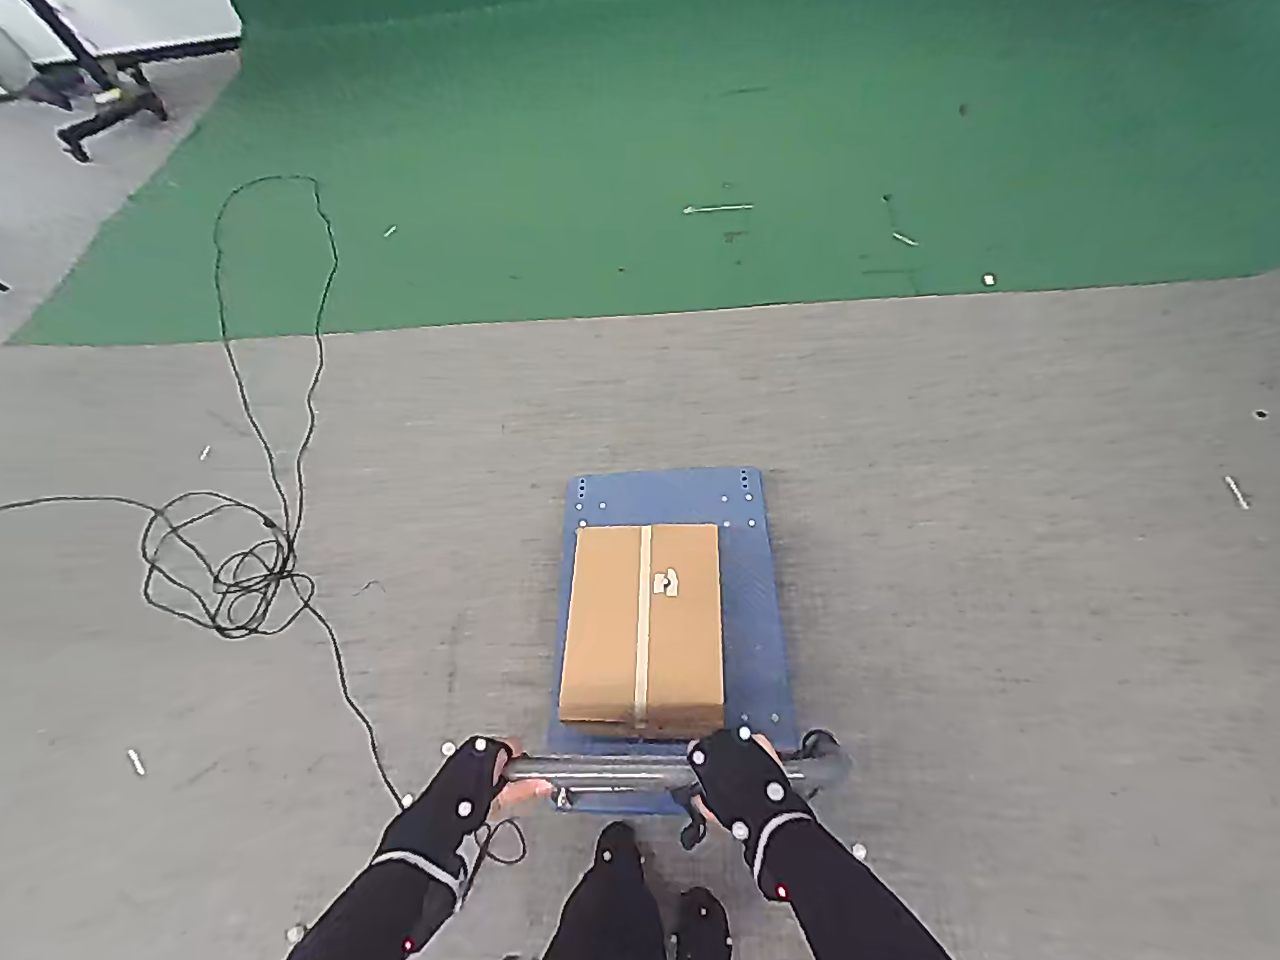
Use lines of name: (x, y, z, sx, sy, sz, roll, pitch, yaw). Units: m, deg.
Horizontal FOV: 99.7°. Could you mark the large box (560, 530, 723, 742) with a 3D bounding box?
large box: (0.022, 0.362, 1.229, 0.320, 0.320, 0.408, -1, 59, 7)
